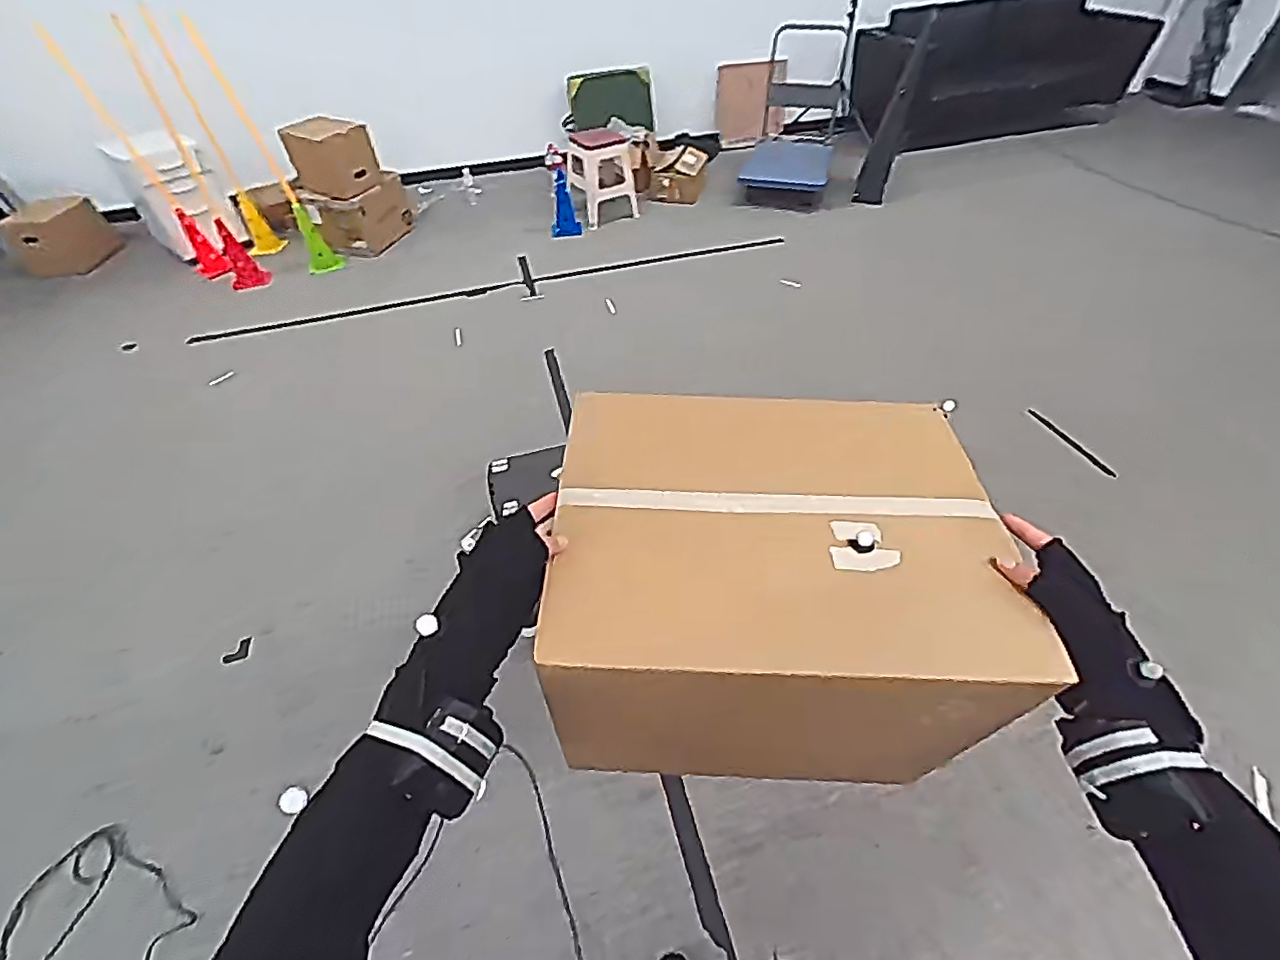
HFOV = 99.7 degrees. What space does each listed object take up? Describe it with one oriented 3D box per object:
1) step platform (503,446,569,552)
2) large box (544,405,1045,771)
[{"bbox_3d":[-0.129,0.011,1.899,0.684,0.204,0.286,-15,48,-12],"label":"step platform"},{"bbox_3d":[0.118,0.131,0.629,0.408,0.320,0.320,2,49,0],"label":"large box"}]
